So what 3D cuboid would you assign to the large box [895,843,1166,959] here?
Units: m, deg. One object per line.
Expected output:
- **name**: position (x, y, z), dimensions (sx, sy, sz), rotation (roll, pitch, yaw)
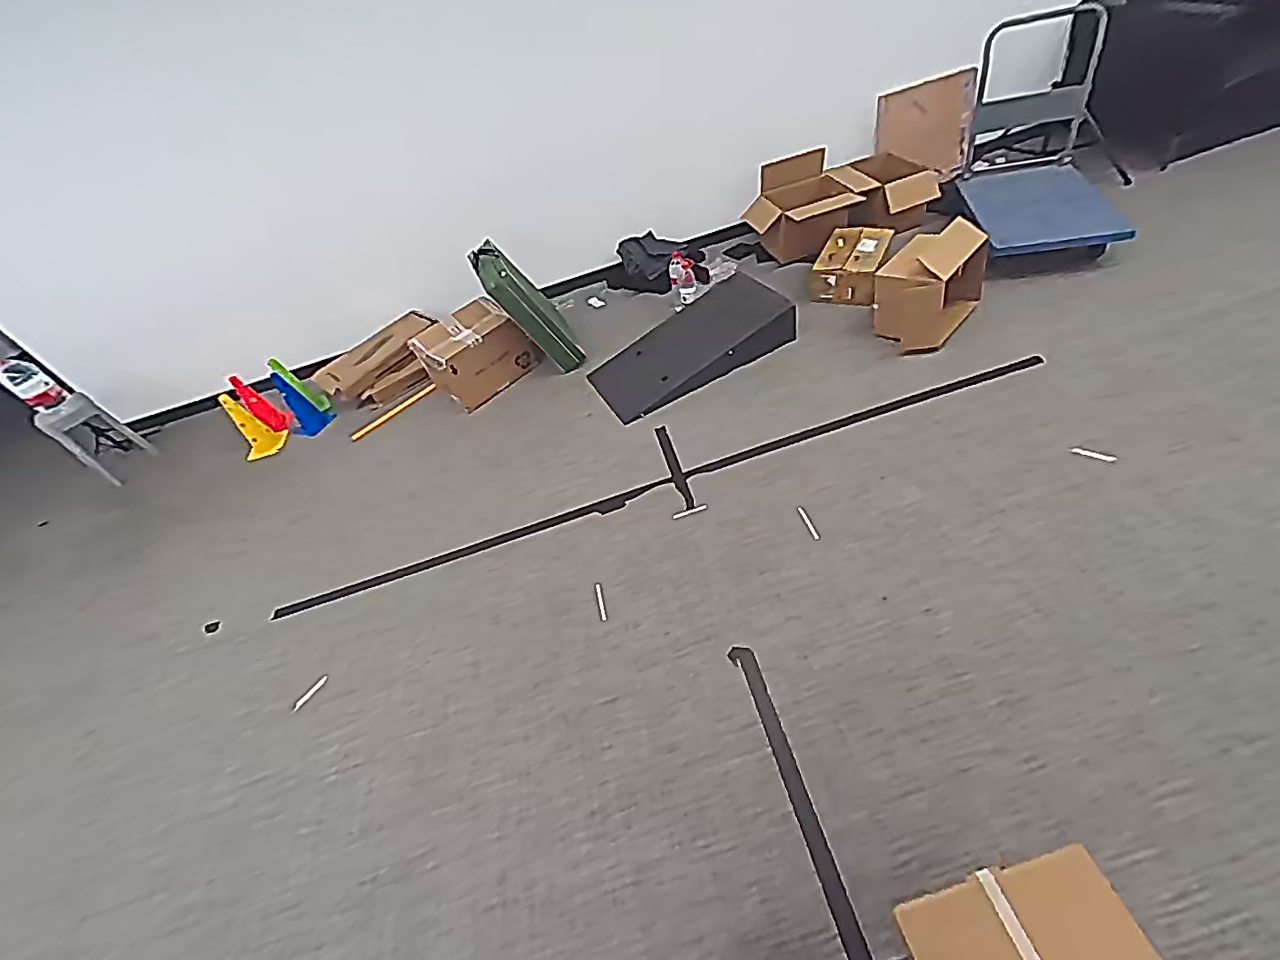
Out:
- **large box**: position (0.649, 0.851, 0.832), dimensions (0.320, 0.320, 0.408), rotation (-24, 47, 5)
